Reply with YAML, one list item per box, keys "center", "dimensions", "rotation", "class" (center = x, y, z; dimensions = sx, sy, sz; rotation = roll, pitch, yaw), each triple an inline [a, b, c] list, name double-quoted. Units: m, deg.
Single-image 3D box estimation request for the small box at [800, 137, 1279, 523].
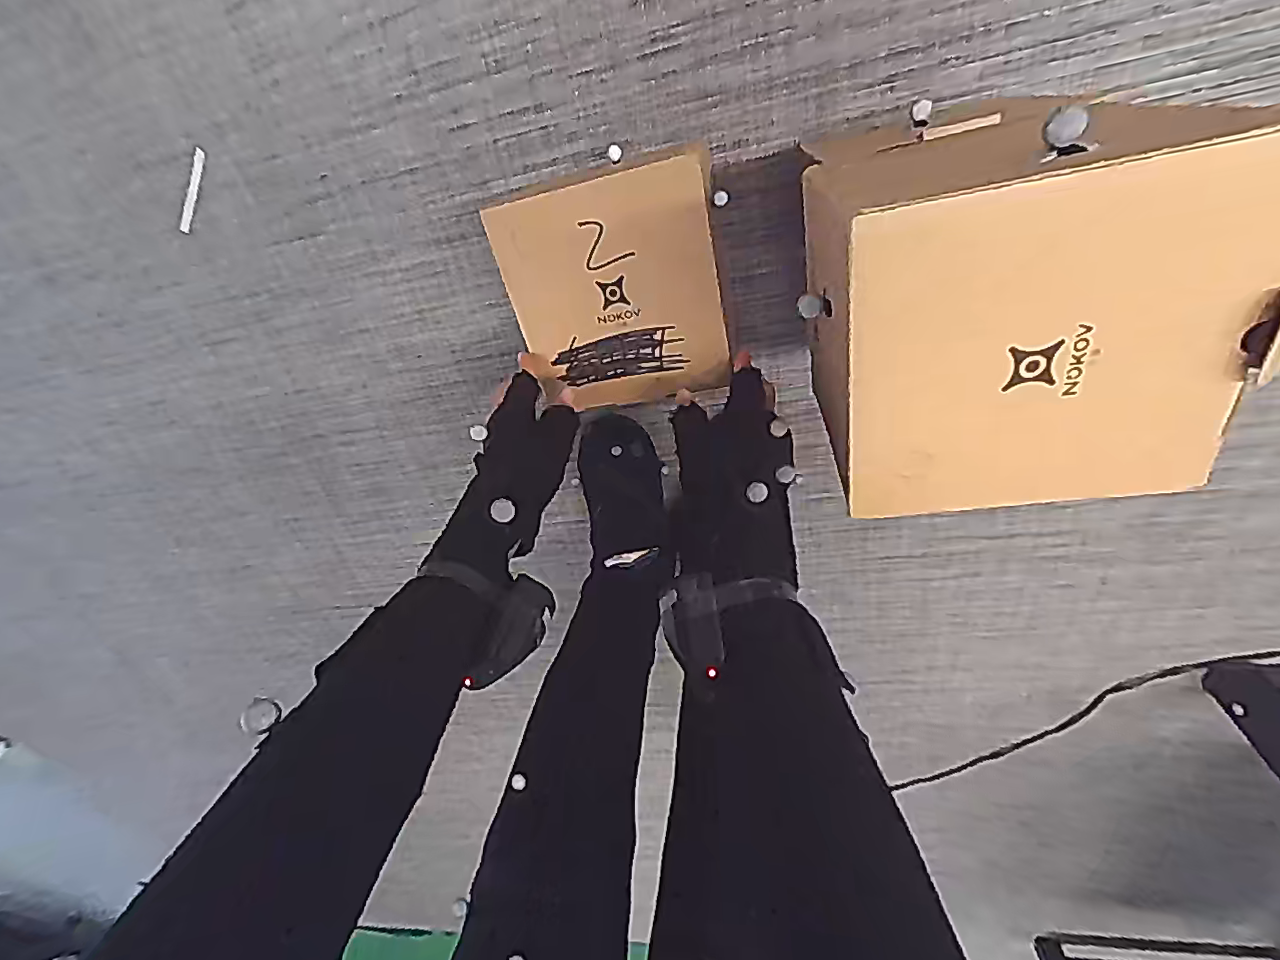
- center: [0.195, -0.094, 0.328]
  dimensions: [0.179, 0.176, 0.168]
  rotation: [-7, 123, 12]
  class: "small box"
